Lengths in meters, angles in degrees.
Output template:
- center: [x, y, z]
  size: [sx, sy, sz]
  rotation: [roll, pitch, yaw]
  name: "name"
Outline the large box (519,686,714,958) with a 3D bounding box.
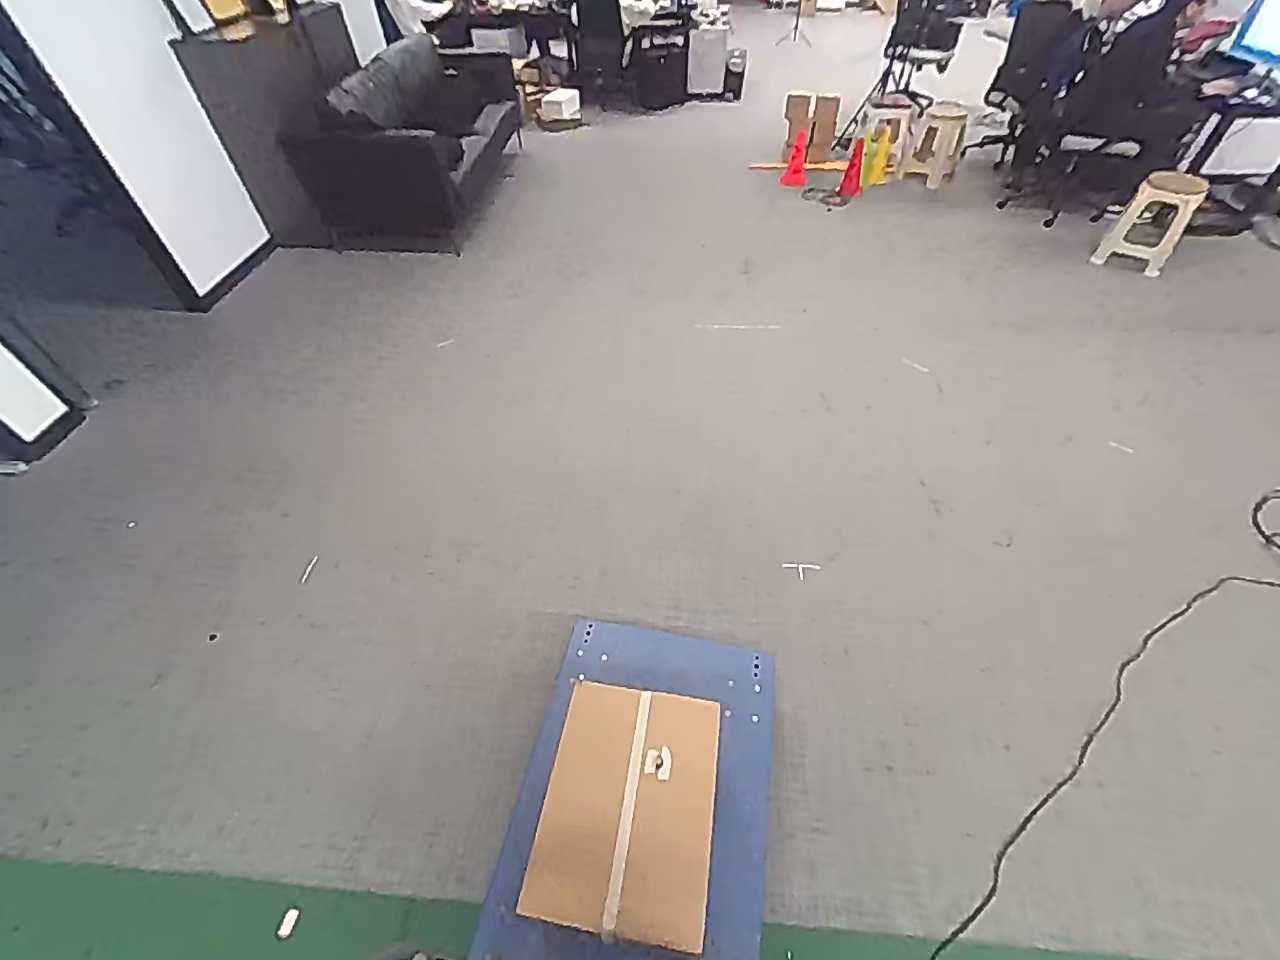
- center: [-0.022, 0.706, 1.130]
  size: [0.320, 0.320, 0.408]
  rotation: [7, 48, 7]
  name: "large box"
